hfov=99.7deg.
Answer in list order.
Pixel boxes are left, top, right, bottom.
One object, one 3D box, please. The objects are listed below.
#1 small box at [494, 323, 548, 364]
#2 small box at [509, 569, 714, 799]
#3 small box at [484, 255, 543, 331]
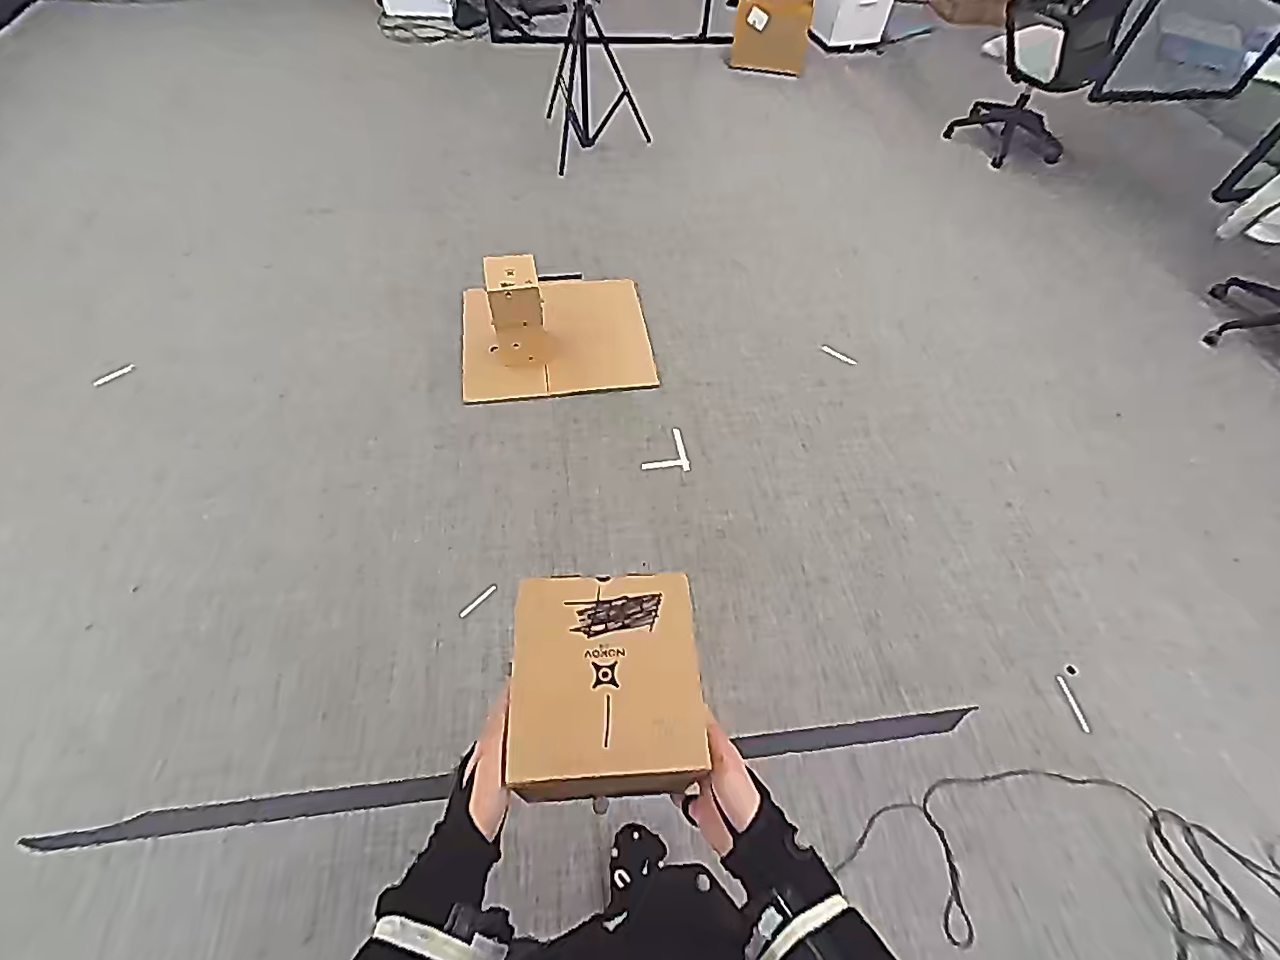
[{"bbox_3d":[-0.430,-0.535,1.952,0.168,0.176,0.179,-8,58,-9],"label":"small box"},{"bbox_3d":[-0.032,0.205,0.539,0.168,0.176,0.179,-1,55,-5],"label":"small box"},{"bbox_3d":[-0.423,-0.626,1.815,0.168,0.176,0.179,-10,58,-9],"label":"small box"}]
